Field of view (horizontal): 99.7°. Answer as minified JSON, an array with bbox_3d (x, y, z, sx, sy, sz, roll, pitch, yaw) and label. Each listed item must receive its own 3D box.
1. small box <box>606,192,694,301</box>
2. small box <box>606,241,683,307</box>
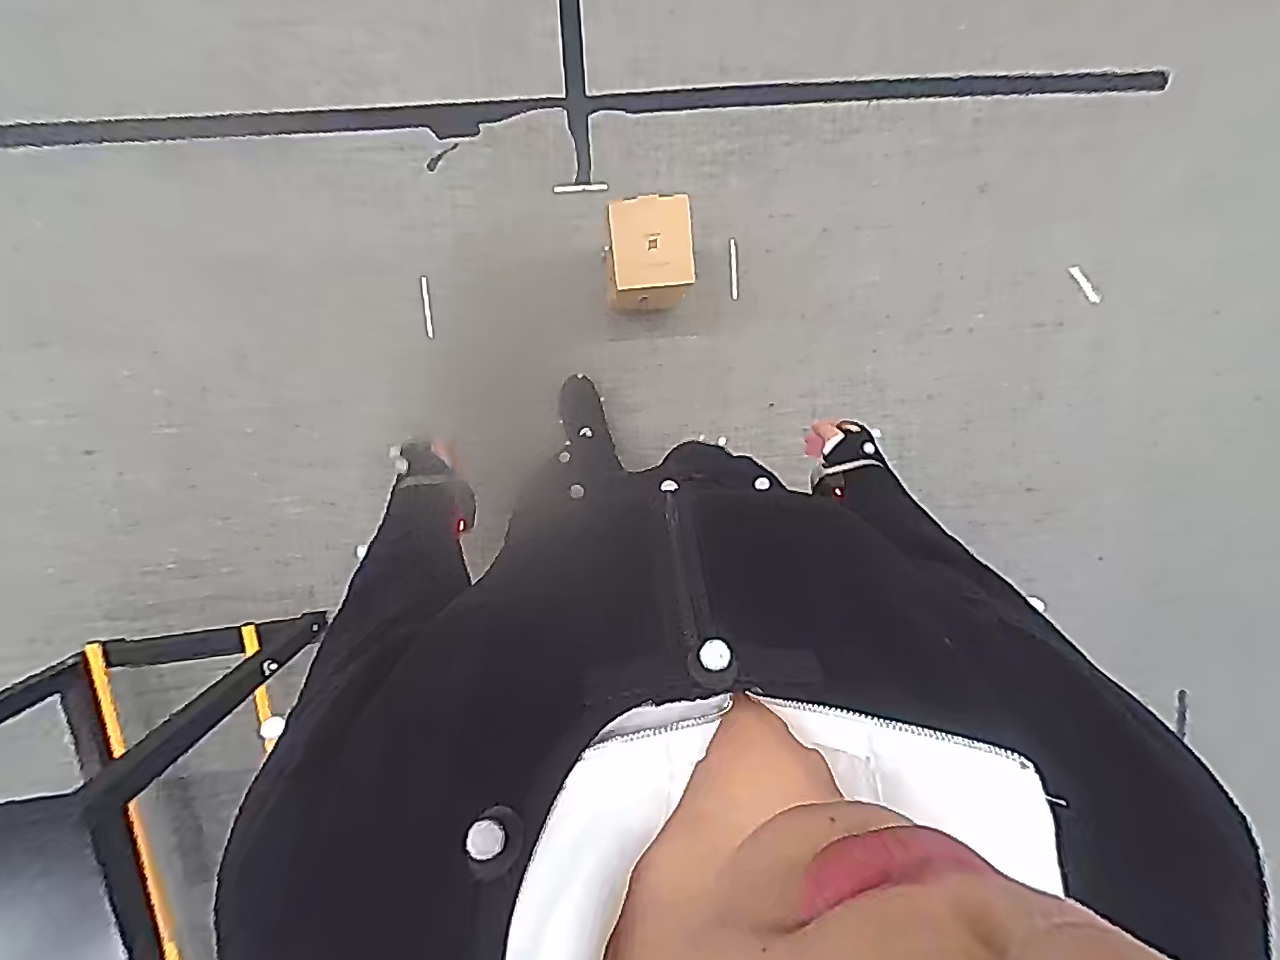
[{"bbox_3d":[0.016,-0.498,1.173,0.168,0.176,0.179,-7,101,-3],"label":"small box"},{"bbox_3d":[0.005,-0.523,1.333,0.179,0.176,0.168,-3,100,-6],"label":"small box"}]
